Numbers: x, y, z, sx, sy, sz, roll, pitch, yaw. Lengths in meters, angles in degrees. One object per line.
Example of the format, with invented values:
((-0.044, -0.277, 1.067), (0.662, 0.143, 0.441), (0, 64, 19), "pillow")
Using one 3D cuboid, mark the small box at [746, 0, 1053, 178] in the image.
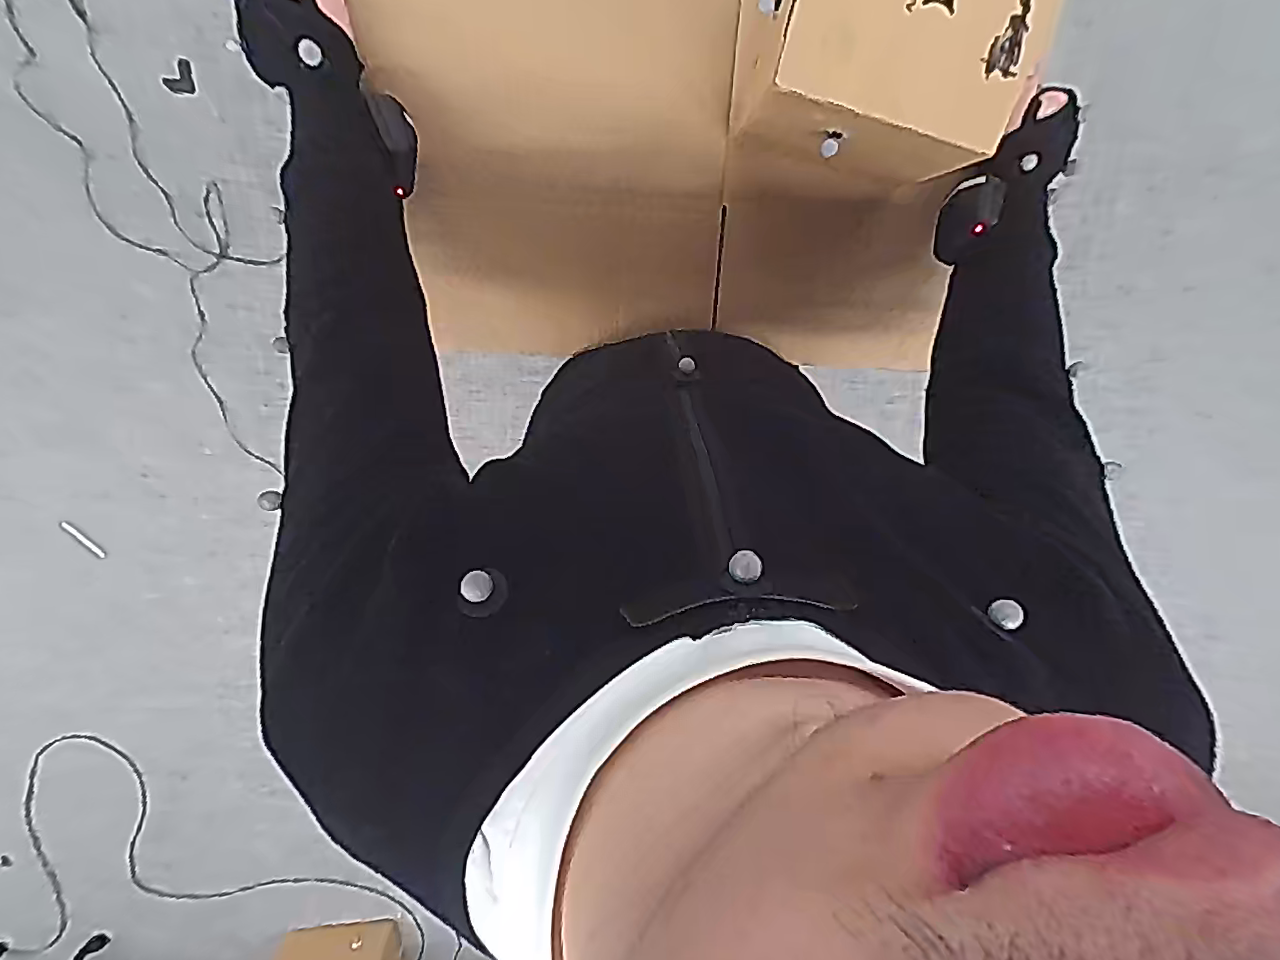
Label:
((0.200, -0.369, 0.444), (0.179, 0.176, 0.168), (14, 110, -4), "small box")
